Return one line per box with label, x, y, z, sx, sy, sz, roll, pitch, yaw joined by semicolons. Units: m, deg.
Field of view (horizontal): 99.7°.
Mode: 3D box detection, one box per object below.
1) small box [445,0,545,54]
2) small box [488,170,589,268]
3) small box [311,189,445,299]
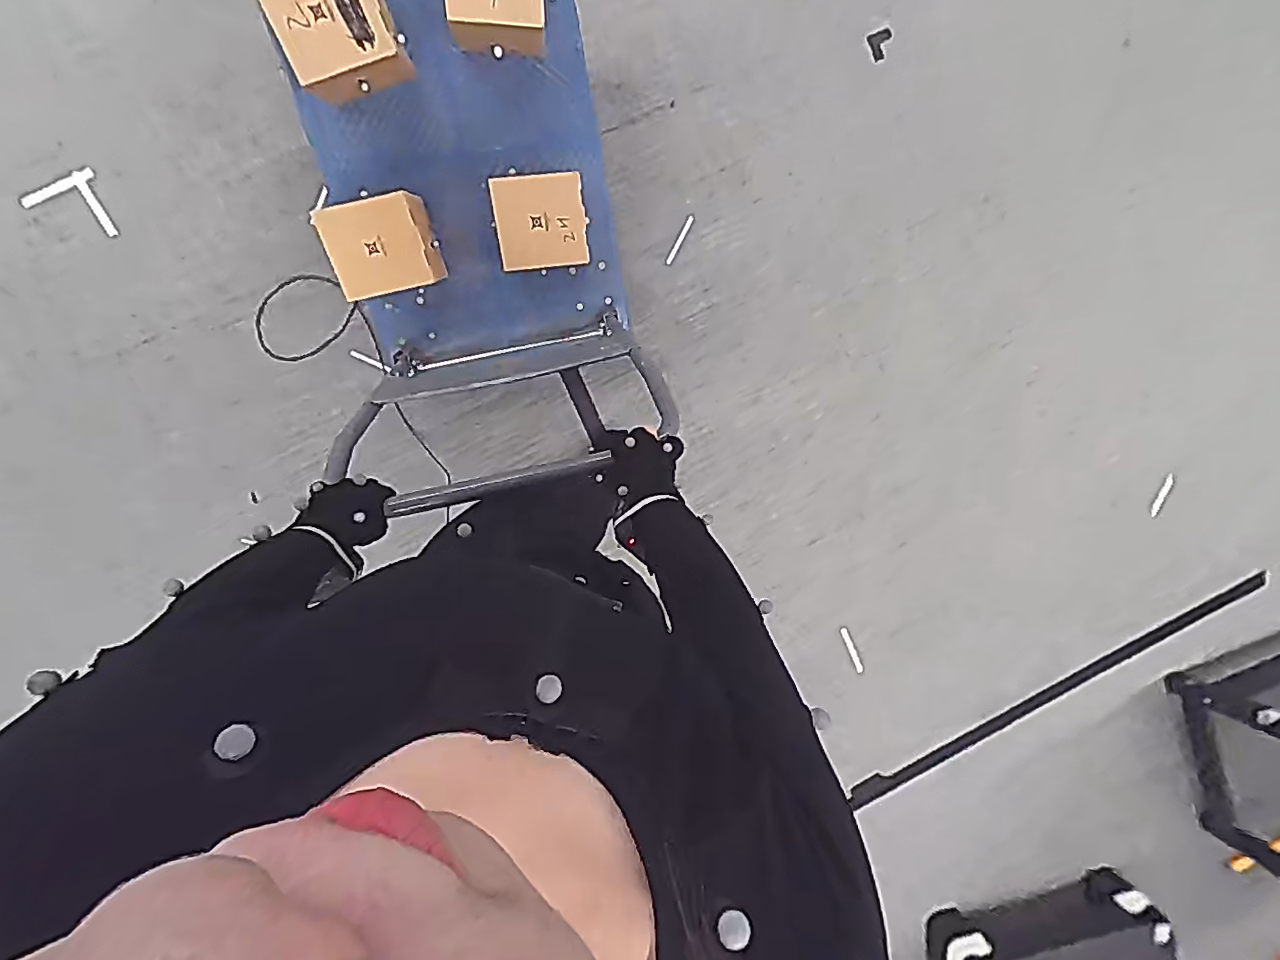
small box;-0.257;-0.891;0.955;0.168;0.176;0.179;-3;115;-9
small box;-0.205;-0.536;1.120;0.179;0.176;0.168;-9;115;-7
small box;-0.515;-0.472;1.092;0.179;0.176;0.168;-16;115;-5
